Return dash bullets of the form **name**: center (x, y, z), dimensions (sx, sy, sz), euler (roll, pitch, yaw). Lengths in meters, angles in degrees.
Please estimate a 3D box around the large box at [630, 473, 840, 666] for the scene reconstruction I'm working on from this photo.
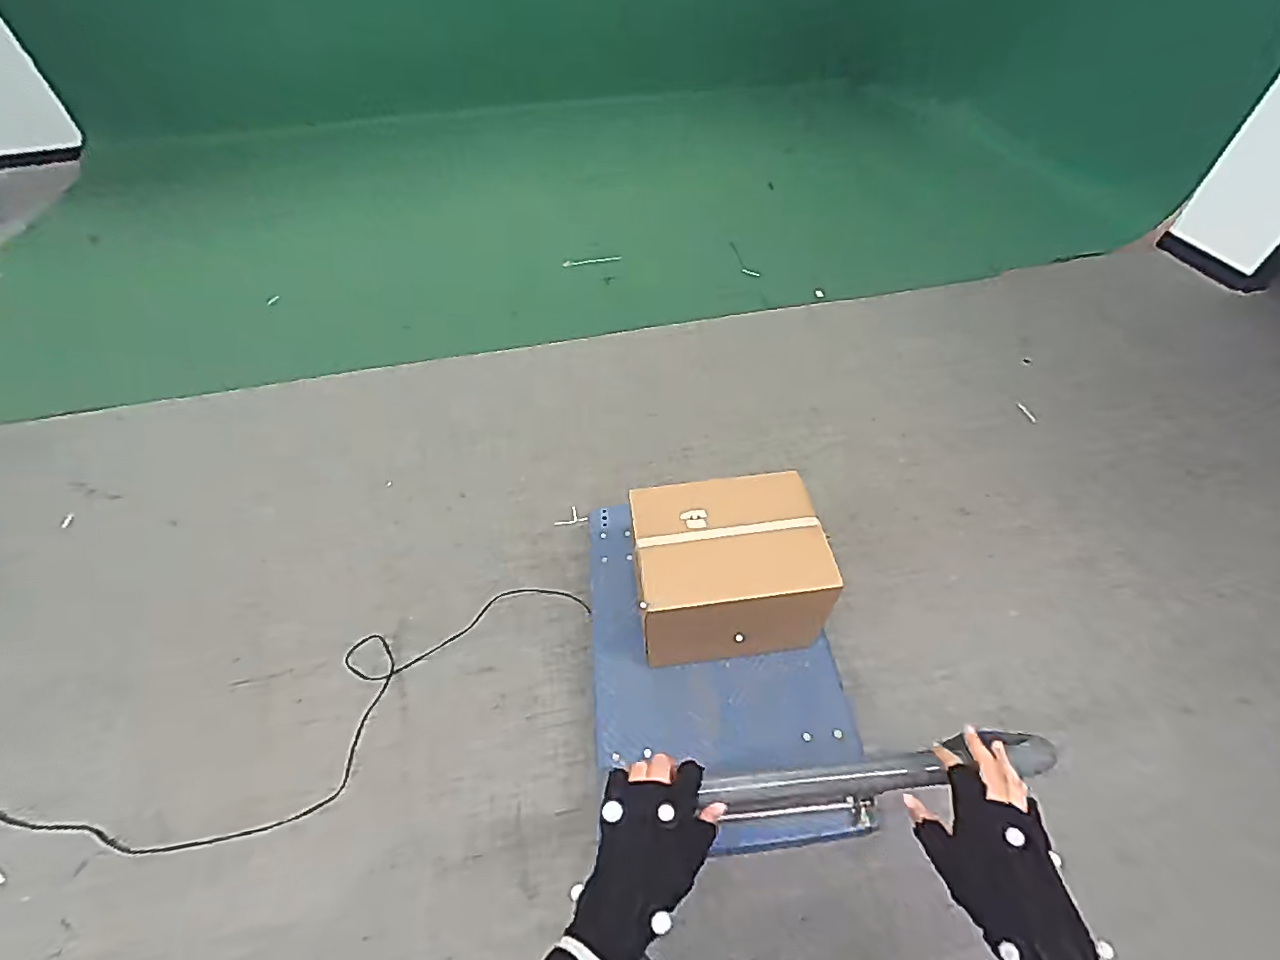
- **large box**: center (0.199, 0.219, 1.293), dimensions (0.408, 0.320, 0.320), euler (-7, 50, -3)
